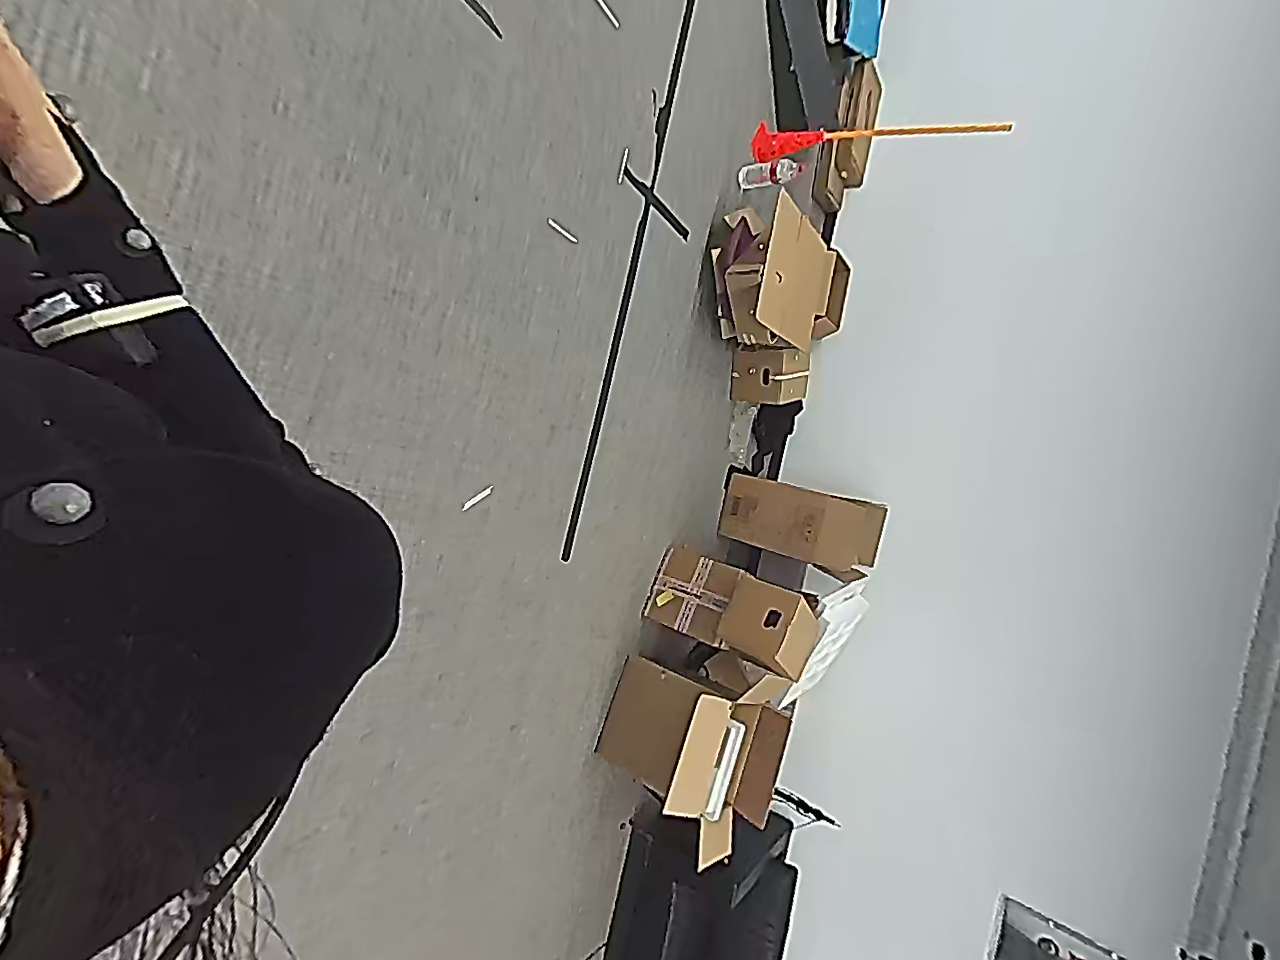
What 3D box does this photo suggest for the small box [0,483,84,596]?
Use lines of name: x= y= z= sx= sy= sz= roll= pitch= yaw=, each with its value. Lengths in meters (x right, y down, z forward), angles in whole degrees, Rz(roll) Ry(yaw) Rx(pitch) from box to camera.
small box: x=-1.141 y=0.103 z=0.966 sx=0.179 sy=0.176 sz=0.168 roll=-7 pitch=106 yaw=-54
